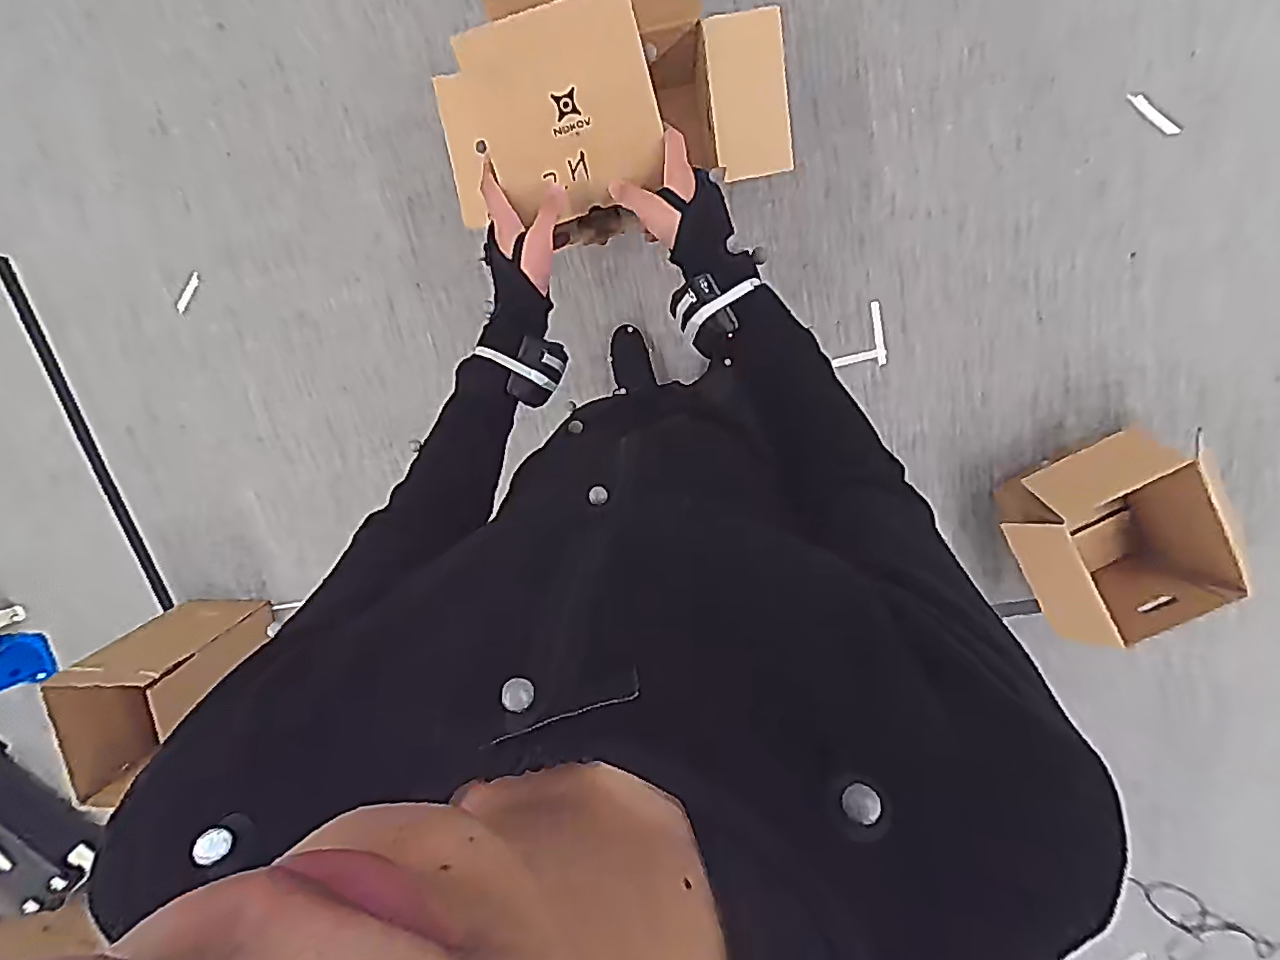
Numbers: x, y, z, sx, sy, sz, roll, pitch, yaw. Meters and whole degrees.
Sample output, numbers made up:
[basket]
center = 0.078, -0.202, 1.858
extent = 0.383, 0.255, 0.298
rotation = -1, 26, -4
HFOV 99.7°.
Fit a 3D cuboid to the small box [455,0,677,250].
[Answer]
[small box]
center = -0.069, -0.363, 0.574
extent = 0.168, 0.176, 0.179
rotation = -16, 109, 3
